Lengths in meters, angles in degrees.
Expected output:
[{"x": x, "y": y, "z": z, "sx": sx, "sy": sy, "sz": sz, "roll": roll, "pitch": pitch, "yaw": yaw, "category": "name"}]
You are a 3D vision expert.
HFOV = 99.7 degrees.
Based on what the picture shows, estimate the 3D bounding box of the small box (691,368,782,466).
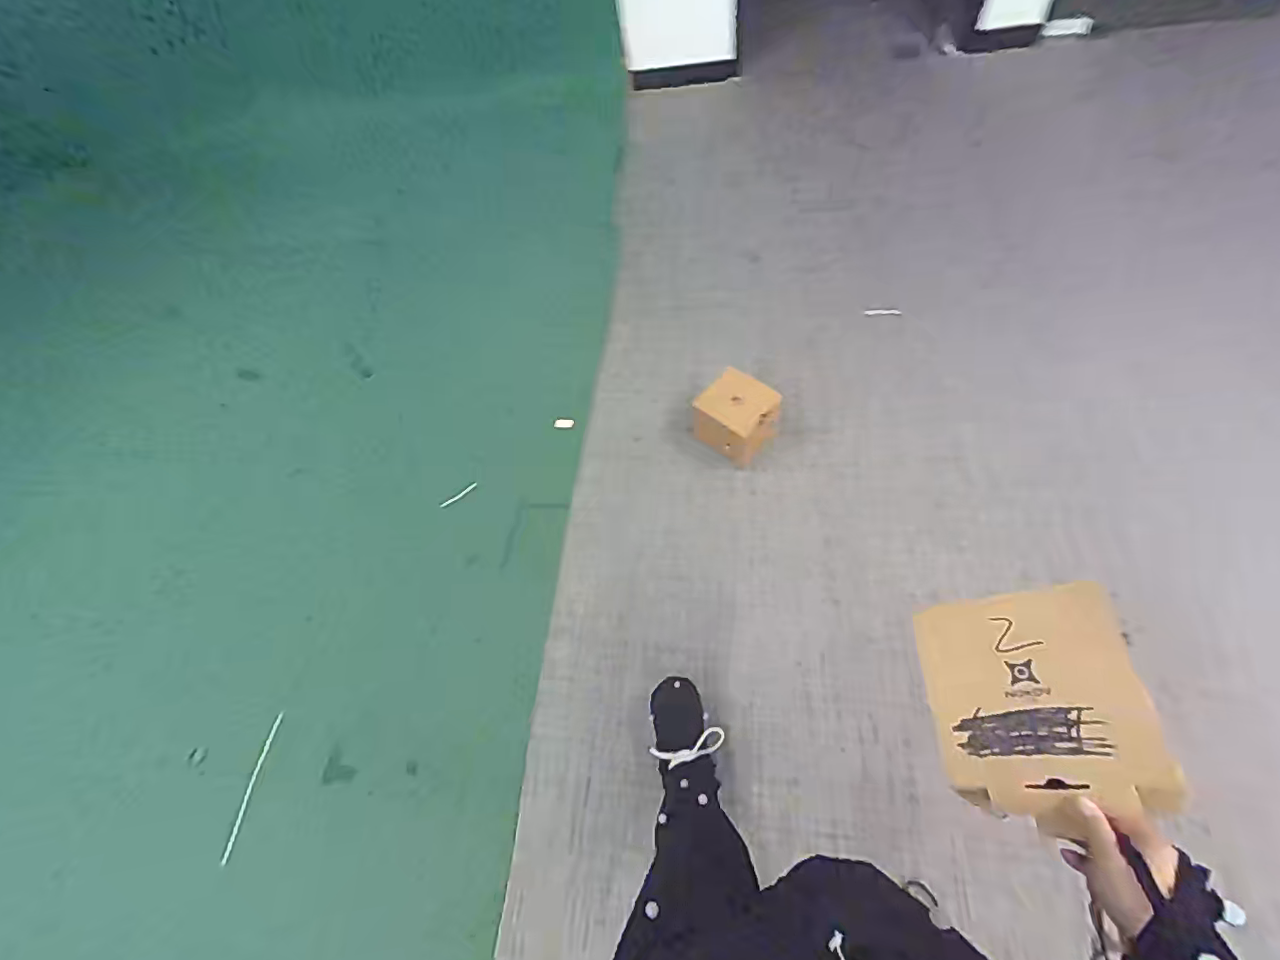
[{"x": 0.259, "y": -0.161, "z": 1.462, "sx": 0.179, "sy": 0.176, "sz": 0.168, "roll": 35, "pitch": 71, "yaw": 26, "category": "small box"}]
